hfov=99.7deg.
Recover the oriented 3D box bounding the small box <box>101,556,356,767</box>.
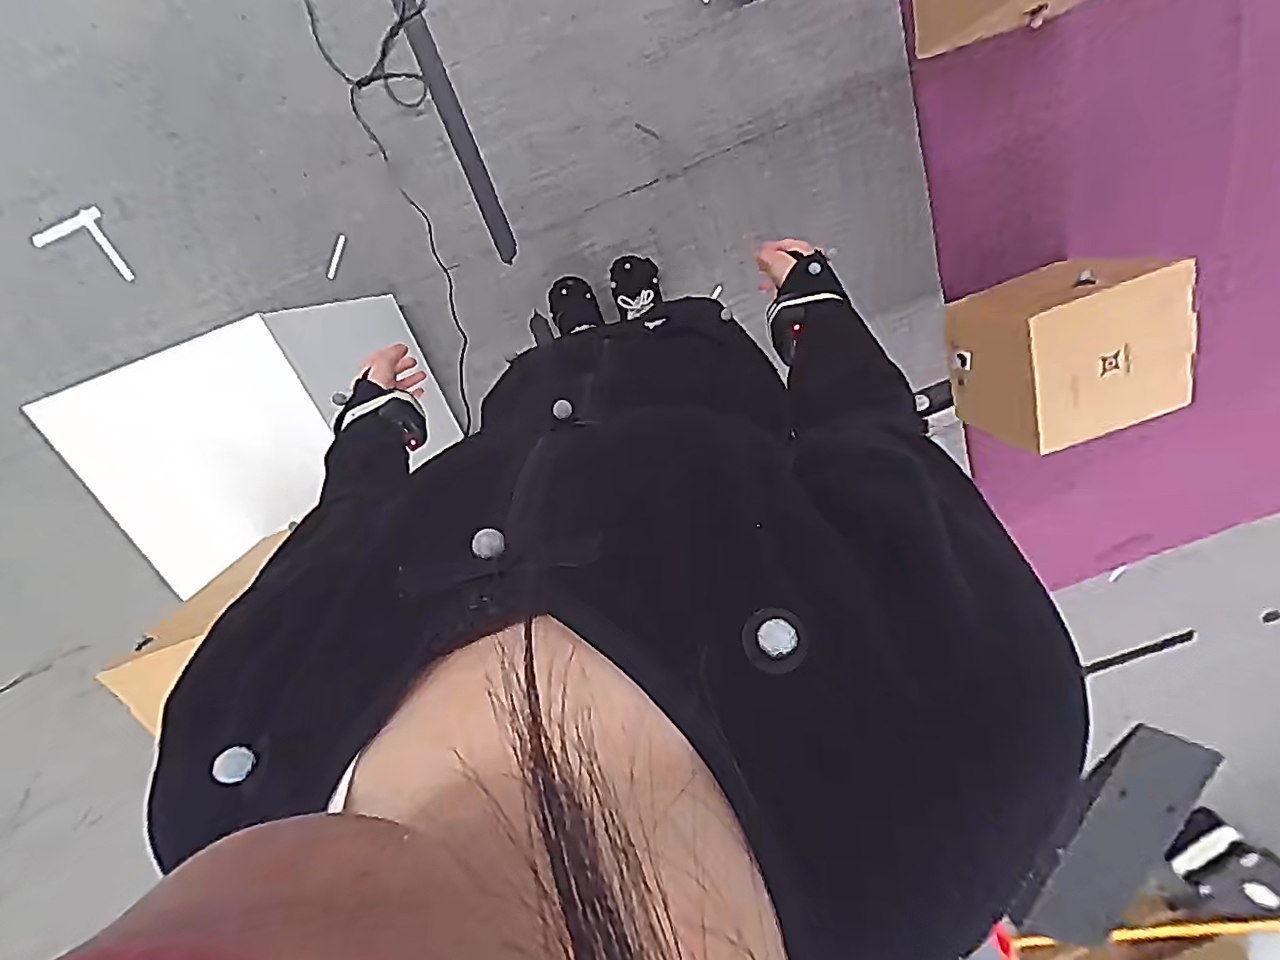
[{"bbox_3d":[-0.504,0.225,0.704,0.179,0.176,0.168,-21,112,4],"label":"small box"}]

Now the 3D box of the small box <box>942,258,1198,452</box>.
[{"bbox_3d":[0.507,-0.159,0.659,0.179,0.176,0.168,-20,111,5],"label":"small box"}]

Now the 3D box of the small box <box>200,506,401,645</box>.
[{"bbox_3d":[-0.518,0.166,0.856,0.179,0.176,0.168,-19,112,4],"label":"small box"}]

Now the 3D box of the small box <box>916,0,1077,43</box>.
[{"bbox_3d":[0.370,-0.539,0.492,0.168,0.176,0.179,-17,112,2],"label":"small box"}]
